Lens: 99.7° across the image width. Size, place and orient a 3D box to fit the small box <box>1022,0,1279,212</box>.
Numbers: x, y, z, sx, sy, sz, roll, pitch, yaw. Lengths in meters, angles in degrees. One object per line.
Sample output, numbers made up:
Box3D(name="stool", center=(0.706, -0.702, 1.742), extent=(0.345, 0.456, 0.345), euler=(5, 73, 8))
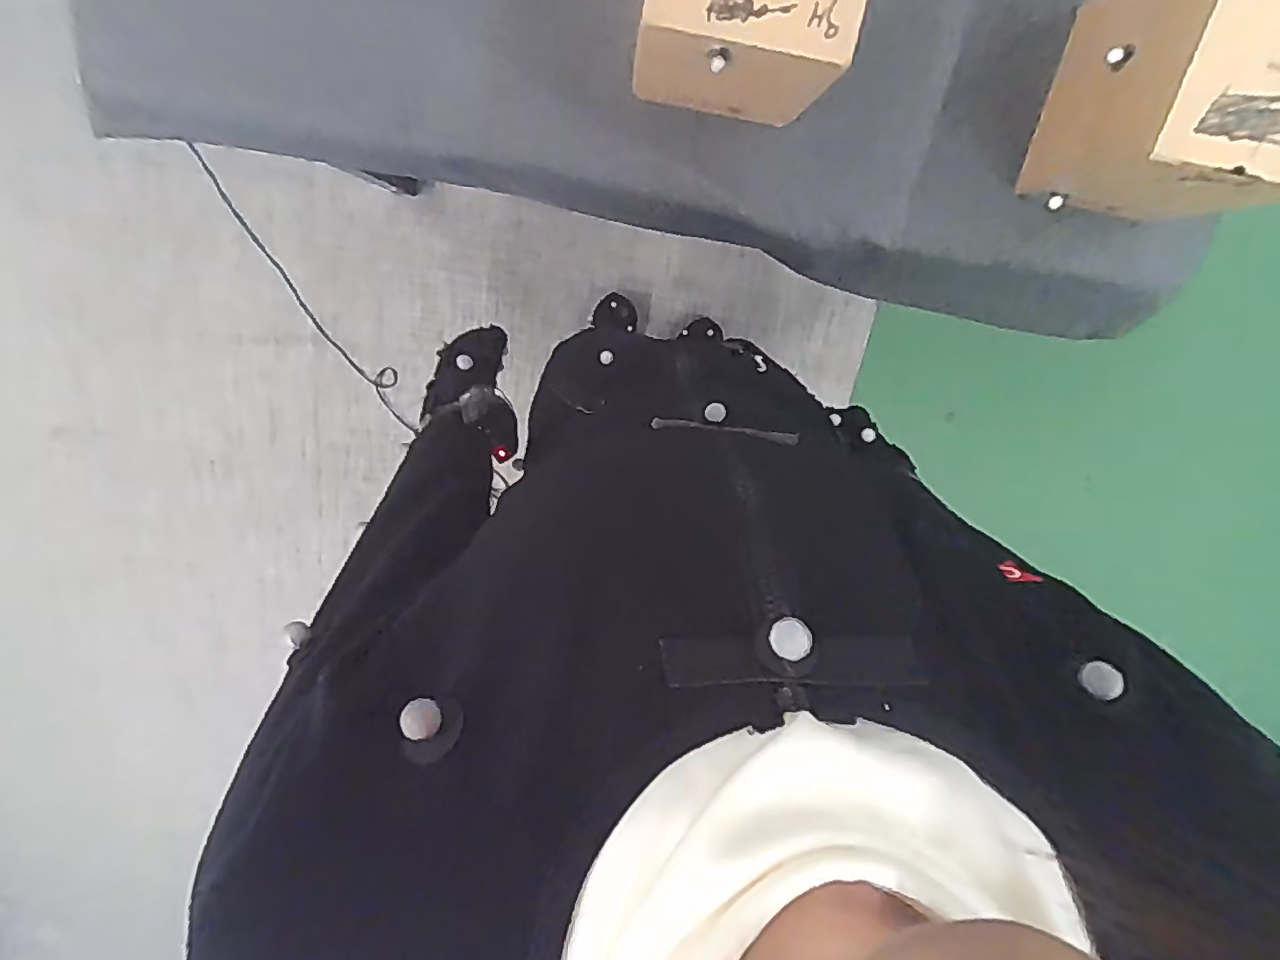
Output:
Box3D(name="small box", center=(0.508, -0.367, 0.504), extent=(0.168, 0.176, 0.179), euler=(10, 108, -6))

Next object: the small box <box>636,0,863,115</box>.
Box3D(name="small box", center=(0.091, -0.446, 0.455), extent=(0.168, 0.176, 0.179), euler=(8, 109, -6))
